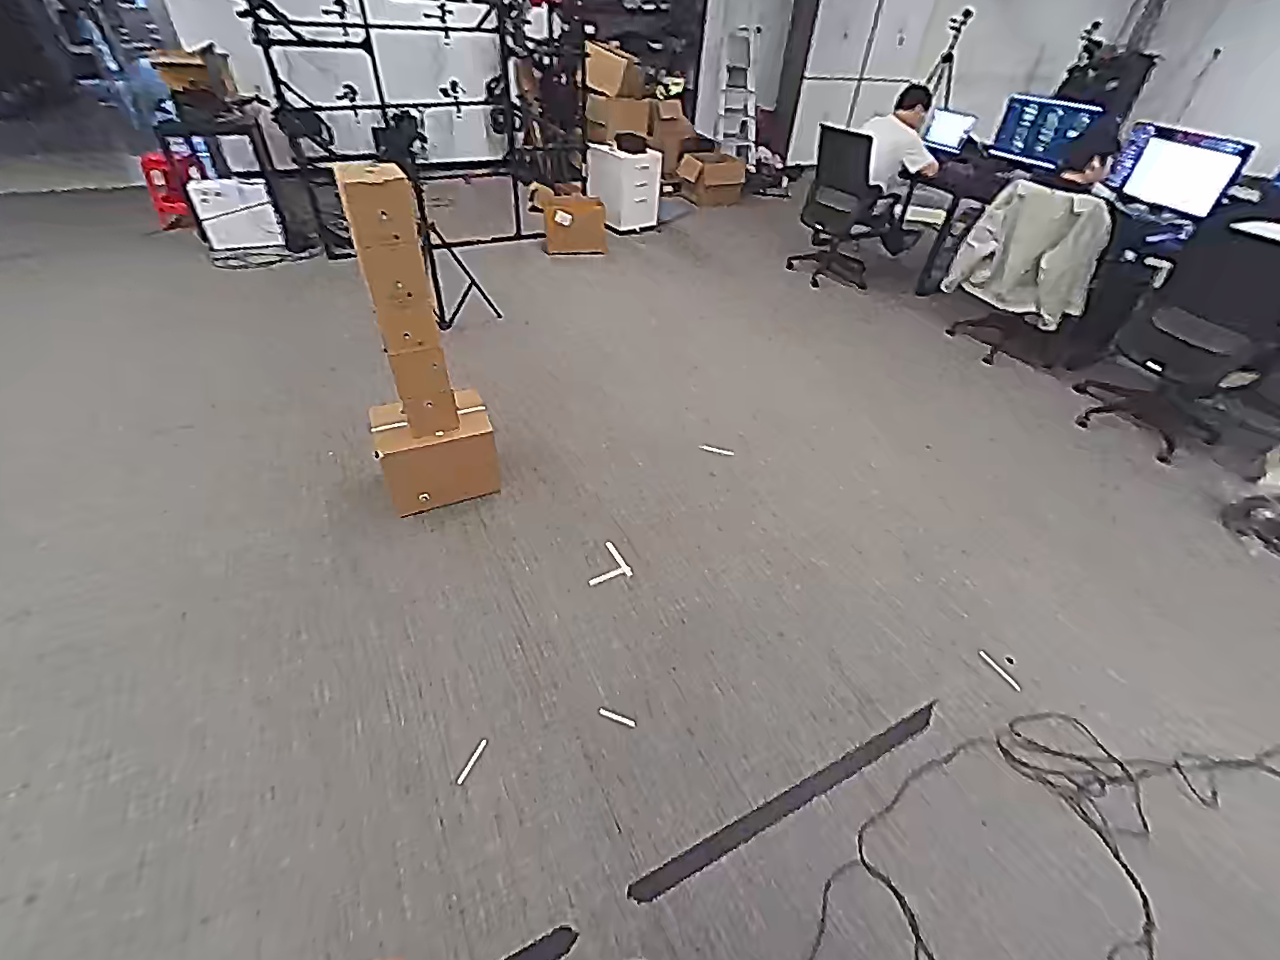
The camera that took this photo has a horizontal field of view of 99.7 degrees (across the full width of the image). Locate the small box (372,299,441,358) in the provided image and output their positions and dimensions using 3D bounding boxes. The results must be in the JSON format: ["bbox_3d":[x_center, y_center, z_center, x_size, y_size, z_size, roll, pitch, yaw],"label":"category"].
[{"bbox_3d":[-0.757,-0.515,1.749,0.168,0.176,0.179,-17,47,-23],"label":"small box"}]

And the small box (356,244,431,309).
[{"bbox_3d":[-0.750,-0.640,1.642,0.168,0.176,0.179,-18,47,-23],"label":"small box"}]

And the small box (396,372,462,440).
[{"bbox_3d":[-0.763,-0.267,1.961,0.179,0.176,0.168,-17,47,-24],"label":"small box"}]

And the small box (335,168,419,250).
[{"bbox_3d":[-0.742,-0.766,1.536,0.168,0.176,0.179,-18,48,-24],"label":"small box"}]
